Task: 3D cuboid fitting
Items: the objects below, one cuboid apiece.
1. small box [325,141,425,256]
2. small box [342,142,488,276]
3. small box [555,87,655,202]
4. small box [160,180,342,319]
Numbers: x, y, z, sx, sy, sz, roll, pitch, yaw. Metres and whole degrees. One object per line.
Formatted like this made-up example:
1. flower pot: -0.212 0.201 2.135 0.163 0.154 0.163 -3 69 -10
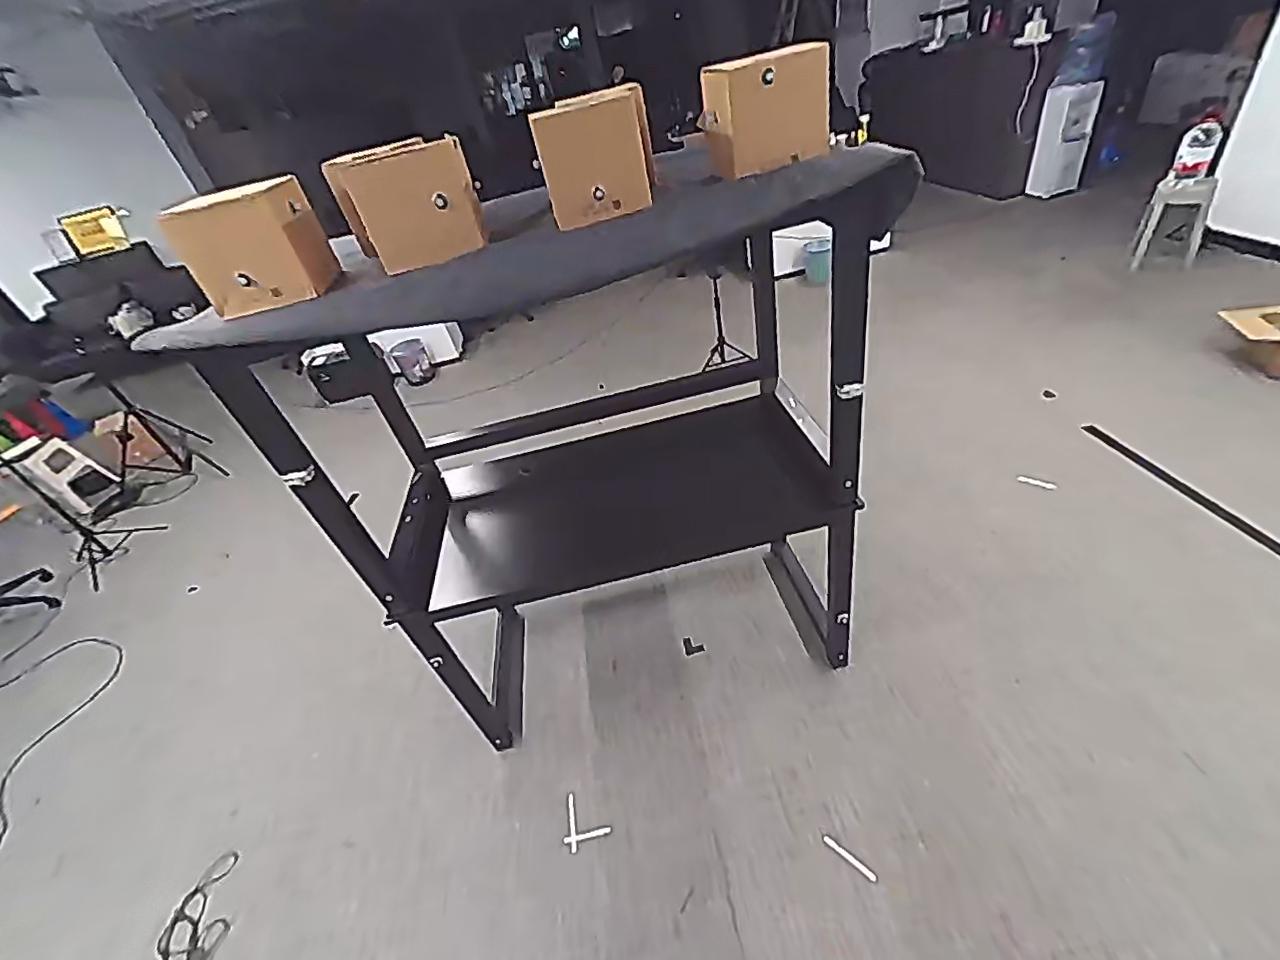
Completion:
1. small box: -0.505 -0.581 1.122 0.168 0.176 0.179 -14 37 0
2. small box: -0.374 -0.473 0.941 0.179 0.176 0.168 -14 34 -4
3. small box: -0.072 -0.693 1.121 0.168 0.176 0.179 -14 37 2
4. small box: -0.646 -0.396 0.929 0.168 0.176 0.179 -16 38 -3
